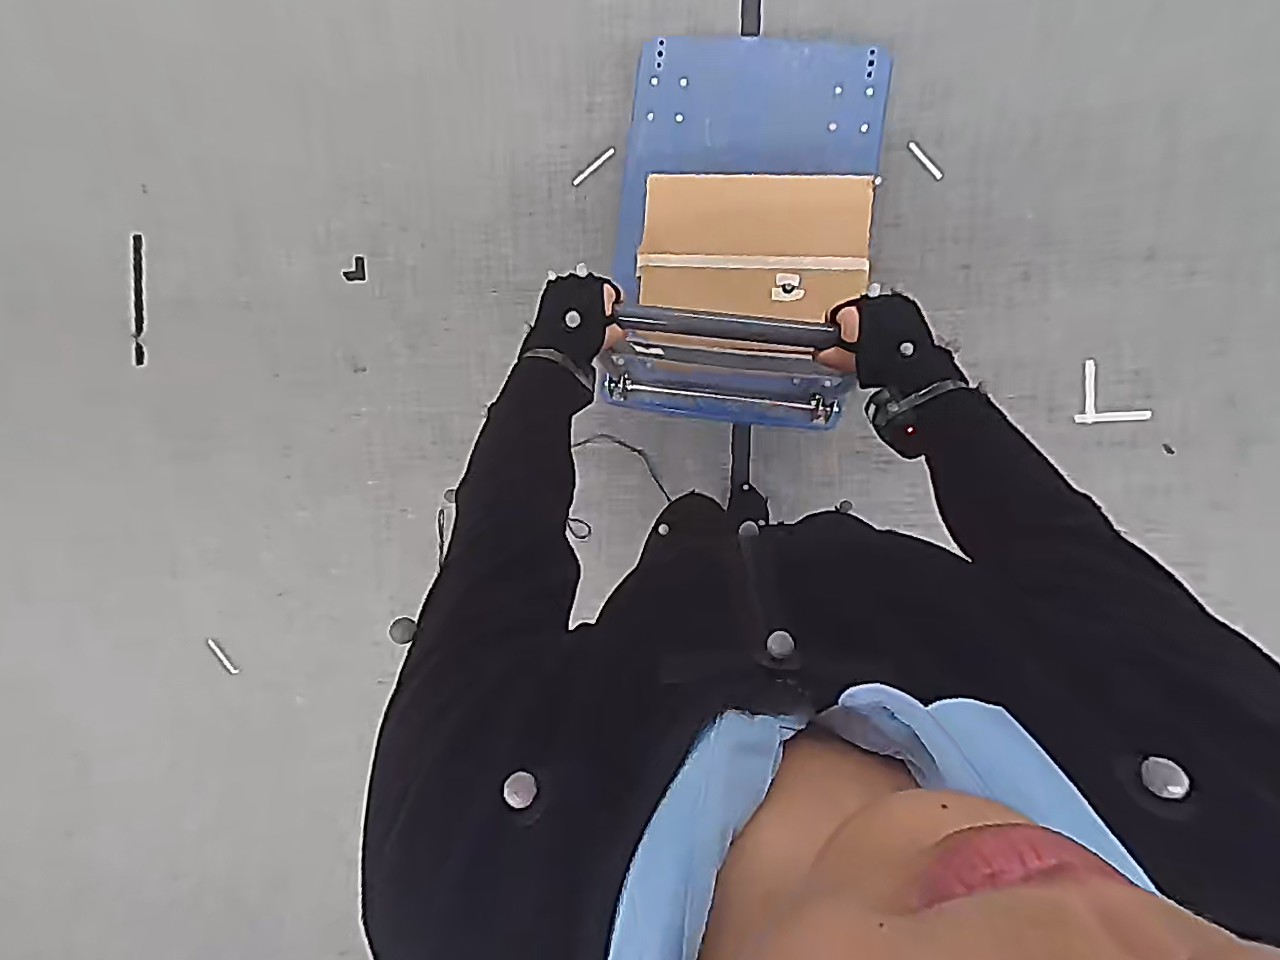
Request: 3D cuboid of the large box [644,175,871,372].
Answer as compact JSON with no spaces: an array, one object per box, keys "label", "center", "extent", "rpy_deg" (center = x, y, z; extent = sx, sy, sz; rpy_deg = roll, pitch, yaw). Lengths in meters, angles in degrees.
[{"label":"large box","center":[0.224,-0.409,1.141],"extent":[0.408,0.320,0.320],"rpy_deg":[4,94,6]}]
